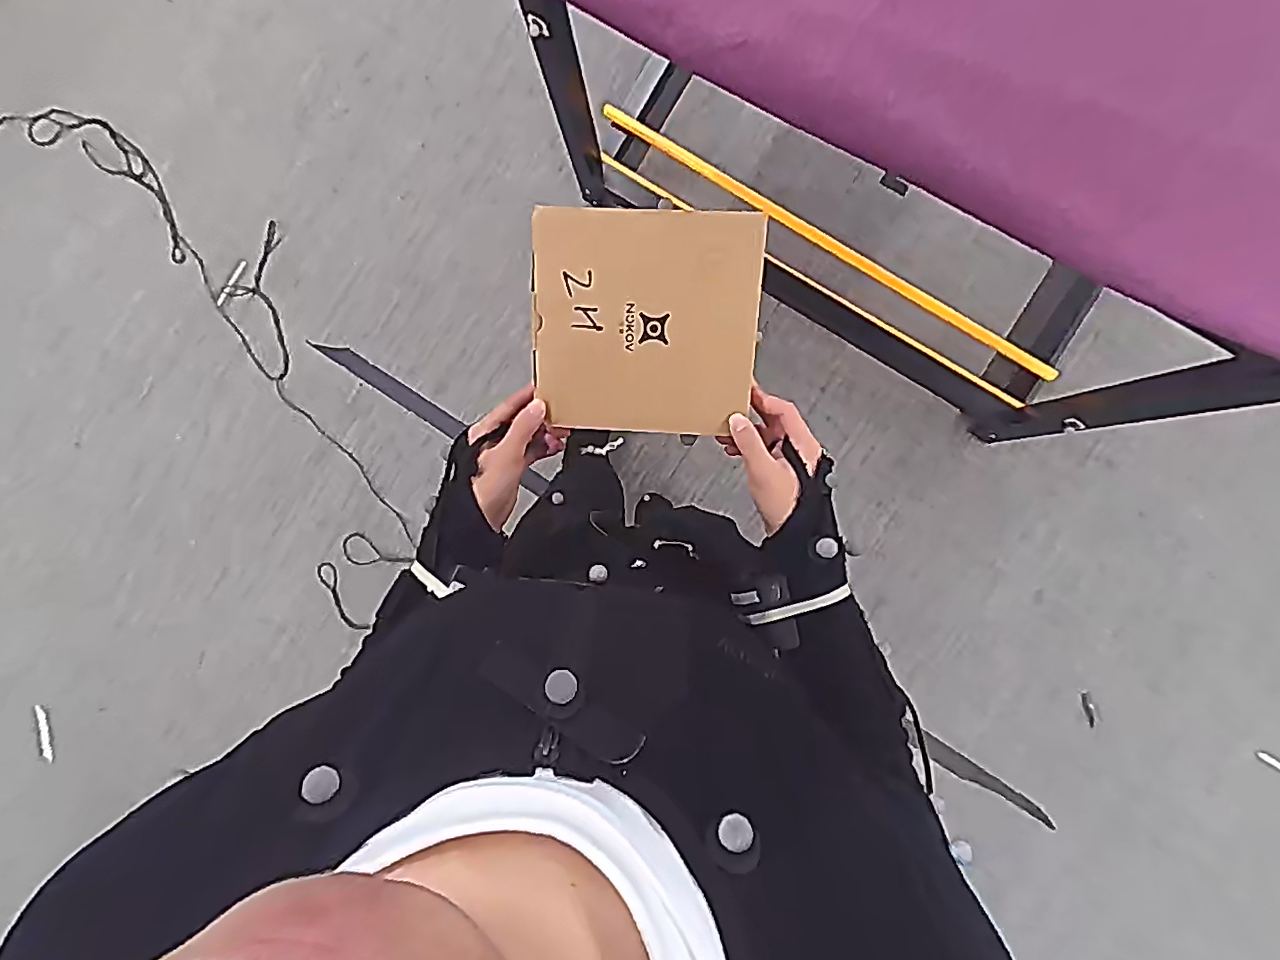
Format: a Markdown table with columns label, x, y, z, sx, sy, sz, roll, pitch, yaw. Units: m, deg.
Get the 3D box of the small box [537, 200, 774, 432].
| label | x | y | z | sx | sy | sz | roll | pitch | yaw |
| --- | --- | --- | --- | --- | --- | --- | --- | --- | --- |
| small box | 0.012 | -0.145 | 0.494 | 0.179 | 0.176 | 0.168 | 4 | 106 | 4 |
